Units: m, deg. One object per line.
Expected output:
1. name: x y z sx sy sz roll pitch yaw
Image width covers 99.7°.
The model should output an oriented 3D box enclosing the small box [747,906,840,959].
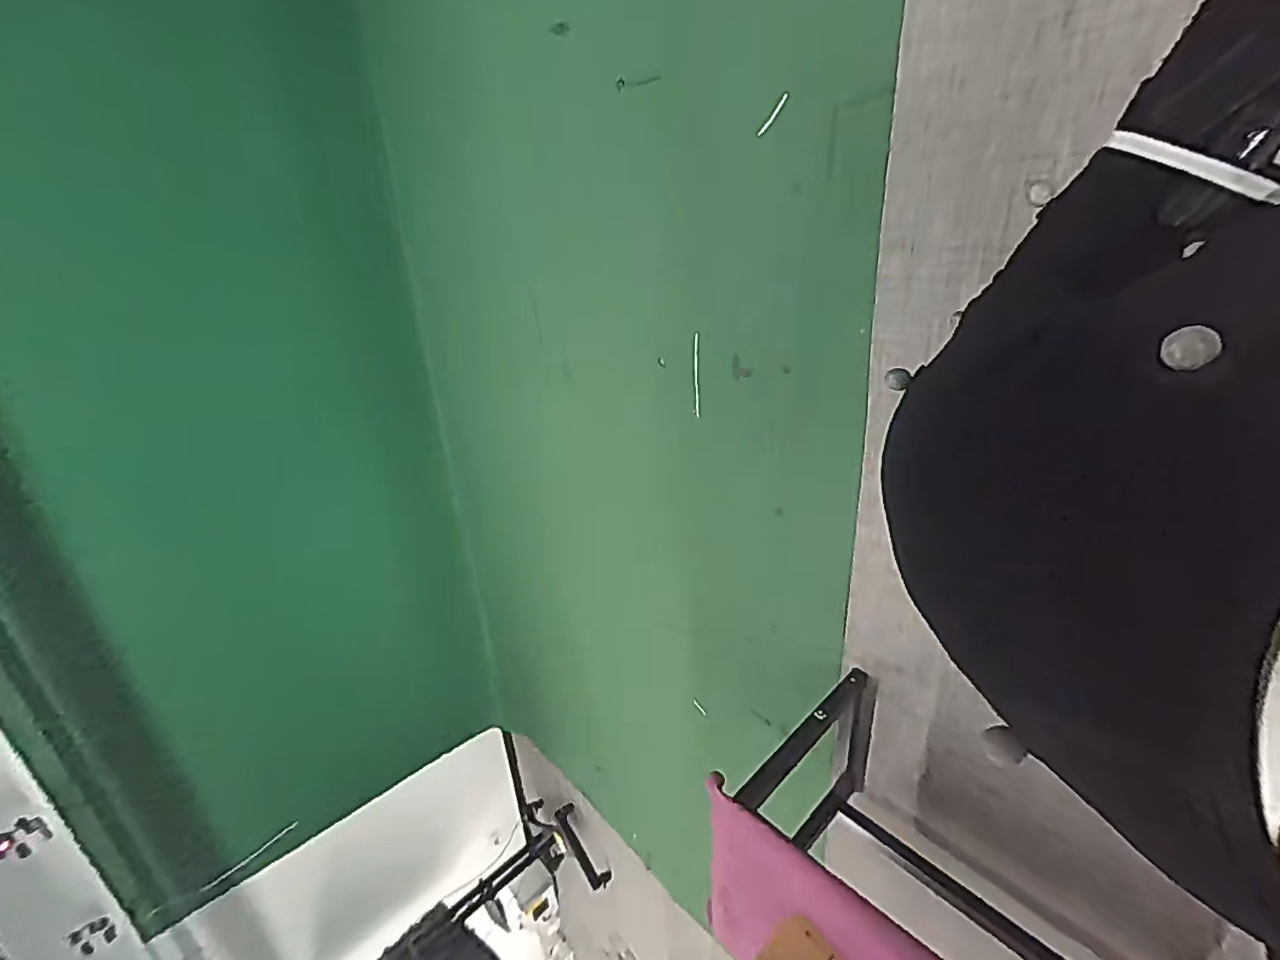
1. small box: 0.355 1.148 1.246 0.168 0.176 0.179 27 126 42
